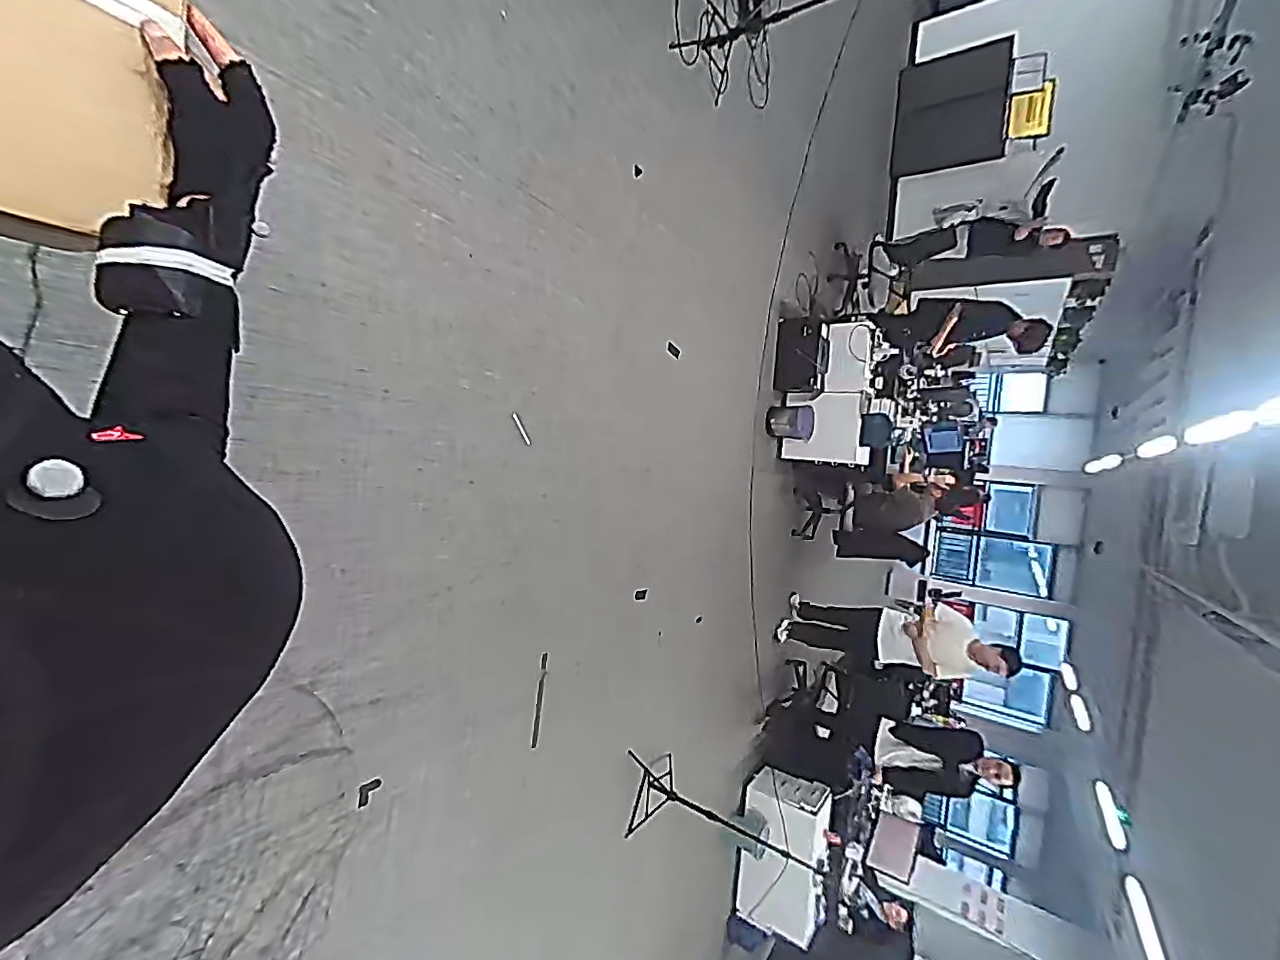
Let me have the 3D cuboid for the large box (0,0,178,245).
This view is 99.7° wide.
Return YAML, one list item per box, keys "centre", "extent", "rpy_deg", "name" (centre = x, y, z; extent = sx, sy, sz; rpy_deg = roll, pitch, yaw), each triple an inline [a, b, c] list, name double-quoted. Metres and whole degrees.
- centre: [-0.583, -0.362, 0.320]
  extent: [0.408, 0.320, 0.320]
  rpy_deg: [-1, 105, -58]
  name: "large box"
